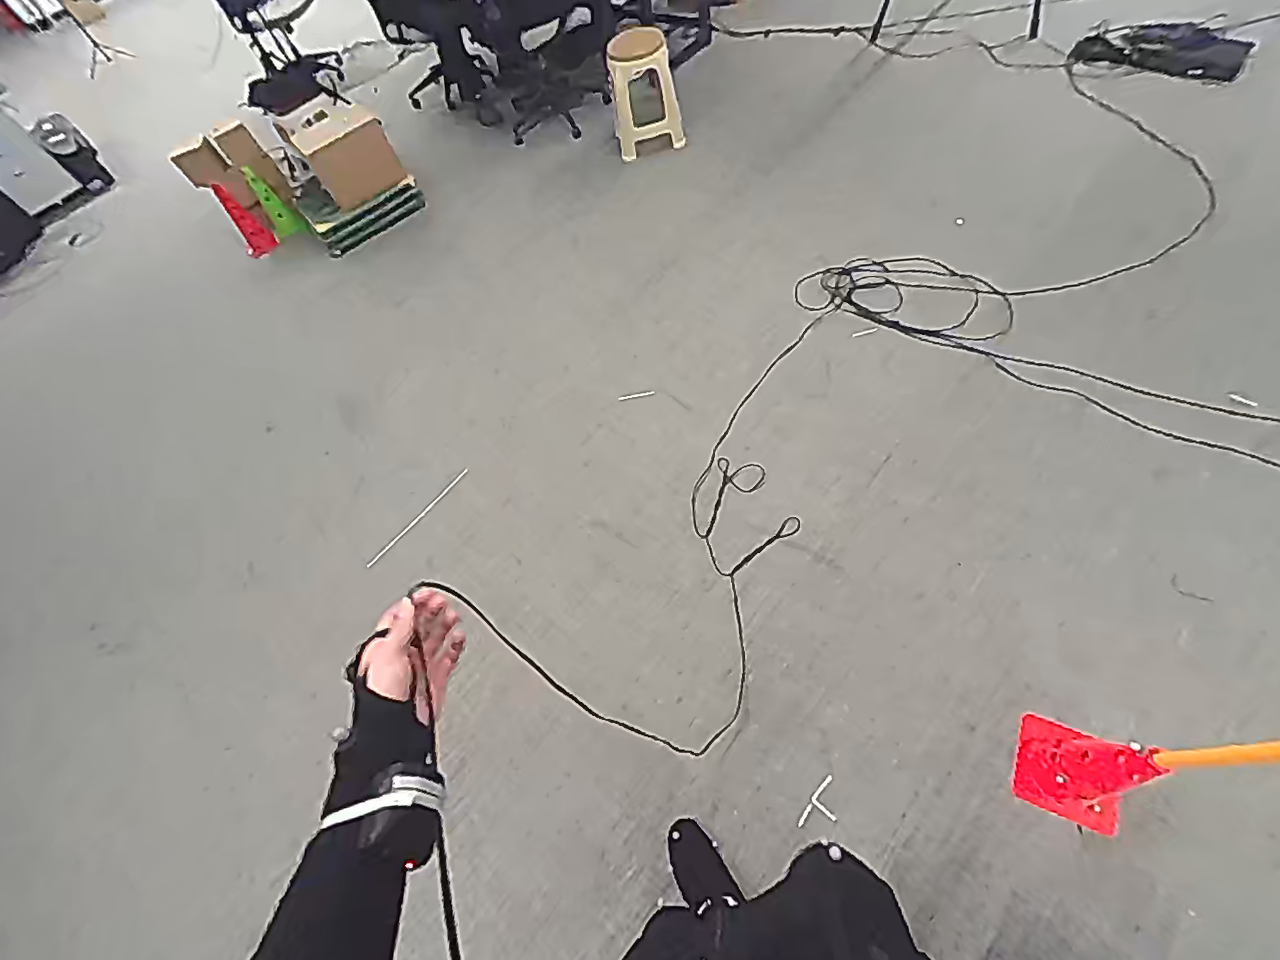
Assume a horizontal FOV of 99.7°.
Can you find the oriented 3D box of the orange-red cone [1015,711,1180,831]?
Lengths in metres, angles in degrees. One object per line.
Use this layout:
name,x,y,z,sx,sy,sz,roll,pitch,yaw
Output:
orange-red cone,0.952,0.571,1.094,0.198,0.360,0.199,19,64,21
